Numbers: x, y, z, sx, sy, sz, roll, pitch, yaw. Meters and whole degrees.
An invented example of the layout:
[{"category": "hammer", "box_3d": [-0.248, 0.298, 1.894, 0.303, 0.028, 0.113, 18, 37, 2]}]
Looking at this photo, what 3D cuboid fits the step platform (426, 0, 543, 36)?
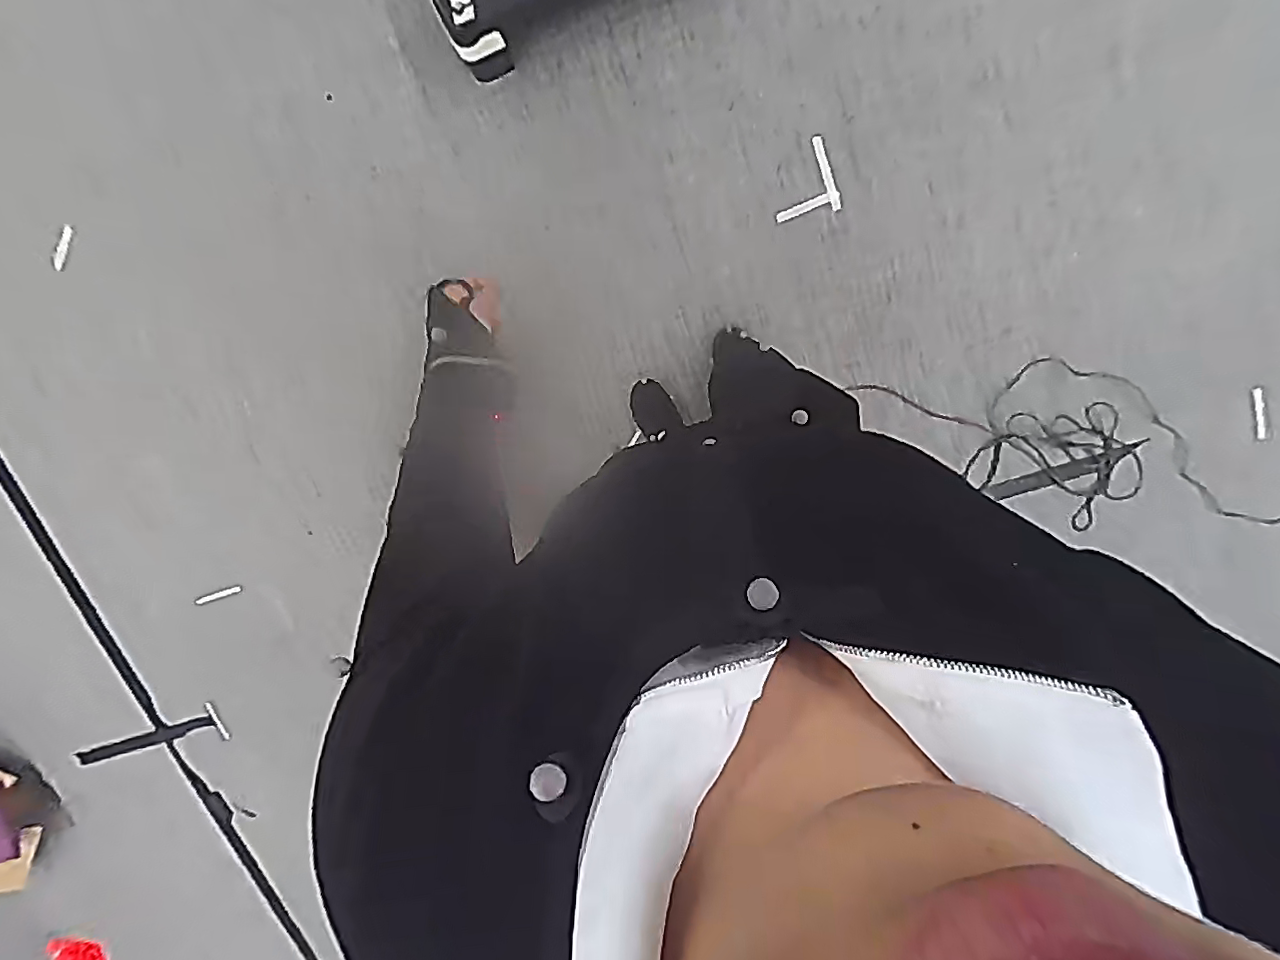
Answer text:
[{"category": "step platform", "box_3d": [-0.126, -1.096, 0.944, 0.684, 0.204, 0.286, -20, 101, 6]}]
